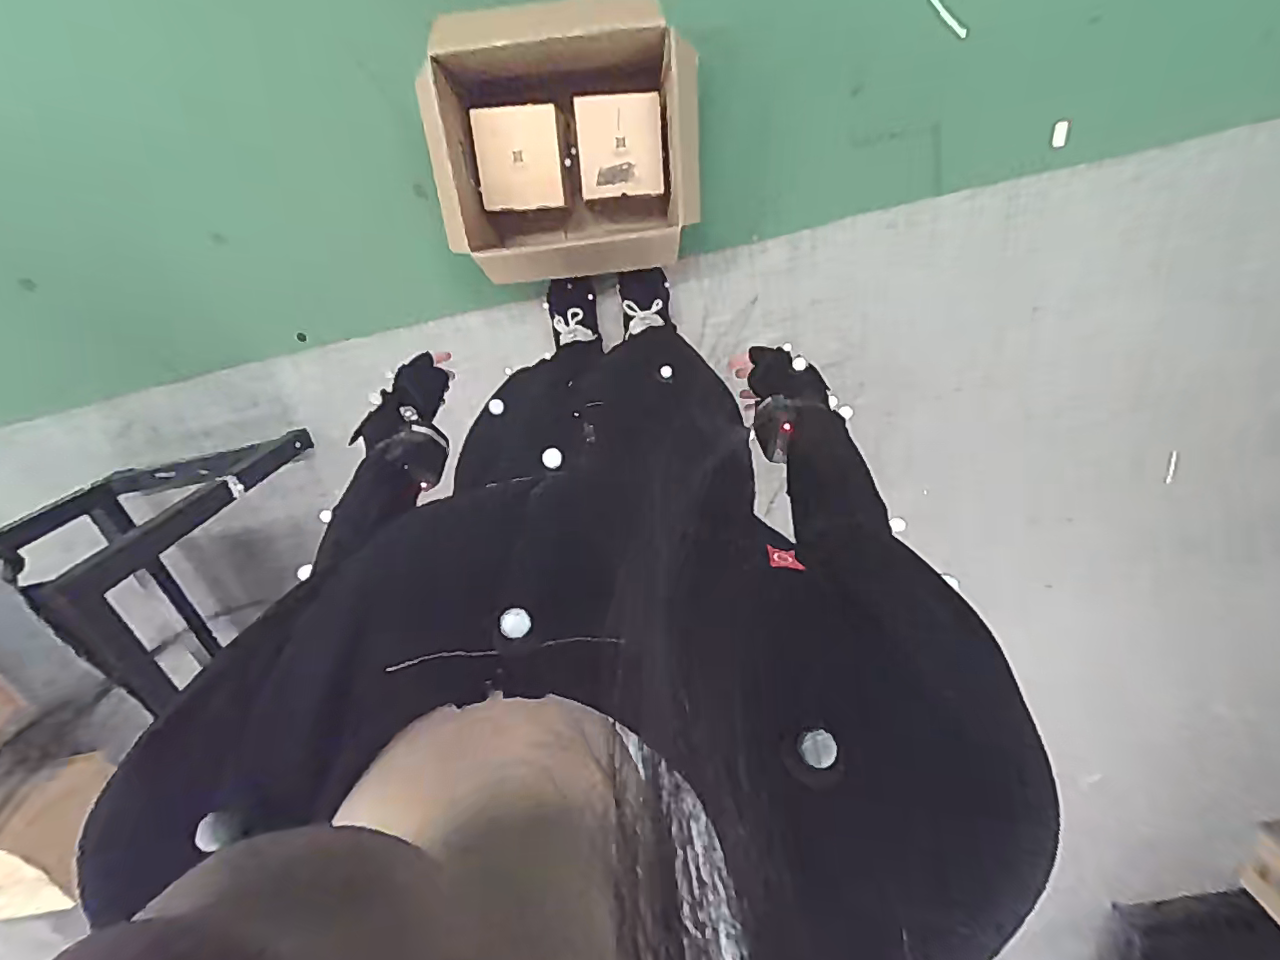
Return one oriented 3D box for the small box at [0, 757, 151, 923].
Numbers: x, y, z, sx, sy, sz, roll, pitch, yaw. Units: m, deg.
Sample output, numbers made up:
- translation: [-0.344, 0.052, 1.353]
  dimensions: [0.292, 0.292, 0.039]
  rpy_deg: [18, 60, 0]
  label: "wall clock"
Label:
- translation: [-1.013, 0.608, 0.921]
  dimensions: [0.179, 0.176, 0.168]
  rpy_deg: [-13, 115, 5]
  label: "small box"
